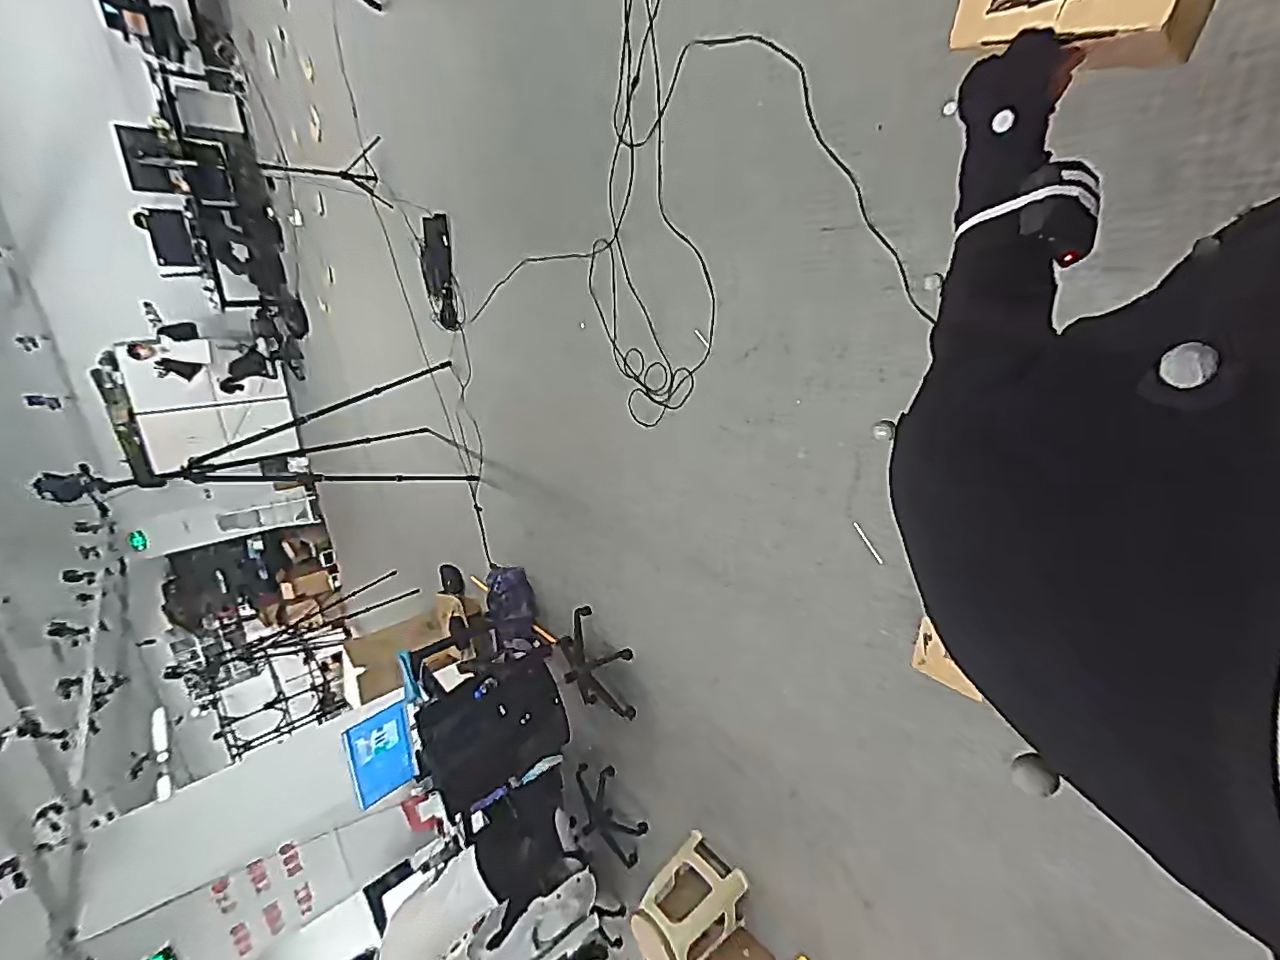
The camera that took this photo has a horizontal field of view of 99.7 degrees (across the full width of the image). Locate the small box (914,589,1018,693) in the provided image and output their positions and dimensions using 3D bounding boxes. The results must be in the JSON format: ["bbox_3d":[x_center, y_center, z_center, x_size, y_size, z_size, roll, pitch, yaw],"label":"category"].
[{"bbox_3d":[0.851,0.408,1.409,0.179,0.176,0.168,23,121,43],"label":"small box"}]

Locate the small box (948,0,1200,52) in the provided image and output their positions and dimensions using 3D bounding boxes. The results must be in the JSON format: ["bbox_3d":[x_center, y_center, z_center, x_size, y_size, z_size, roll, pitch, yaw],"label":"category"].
[{"bbox_3d":[0.411,-0.497,0.474,0.168,0.176,0.179,29,128,36],"label":"small box"}]
